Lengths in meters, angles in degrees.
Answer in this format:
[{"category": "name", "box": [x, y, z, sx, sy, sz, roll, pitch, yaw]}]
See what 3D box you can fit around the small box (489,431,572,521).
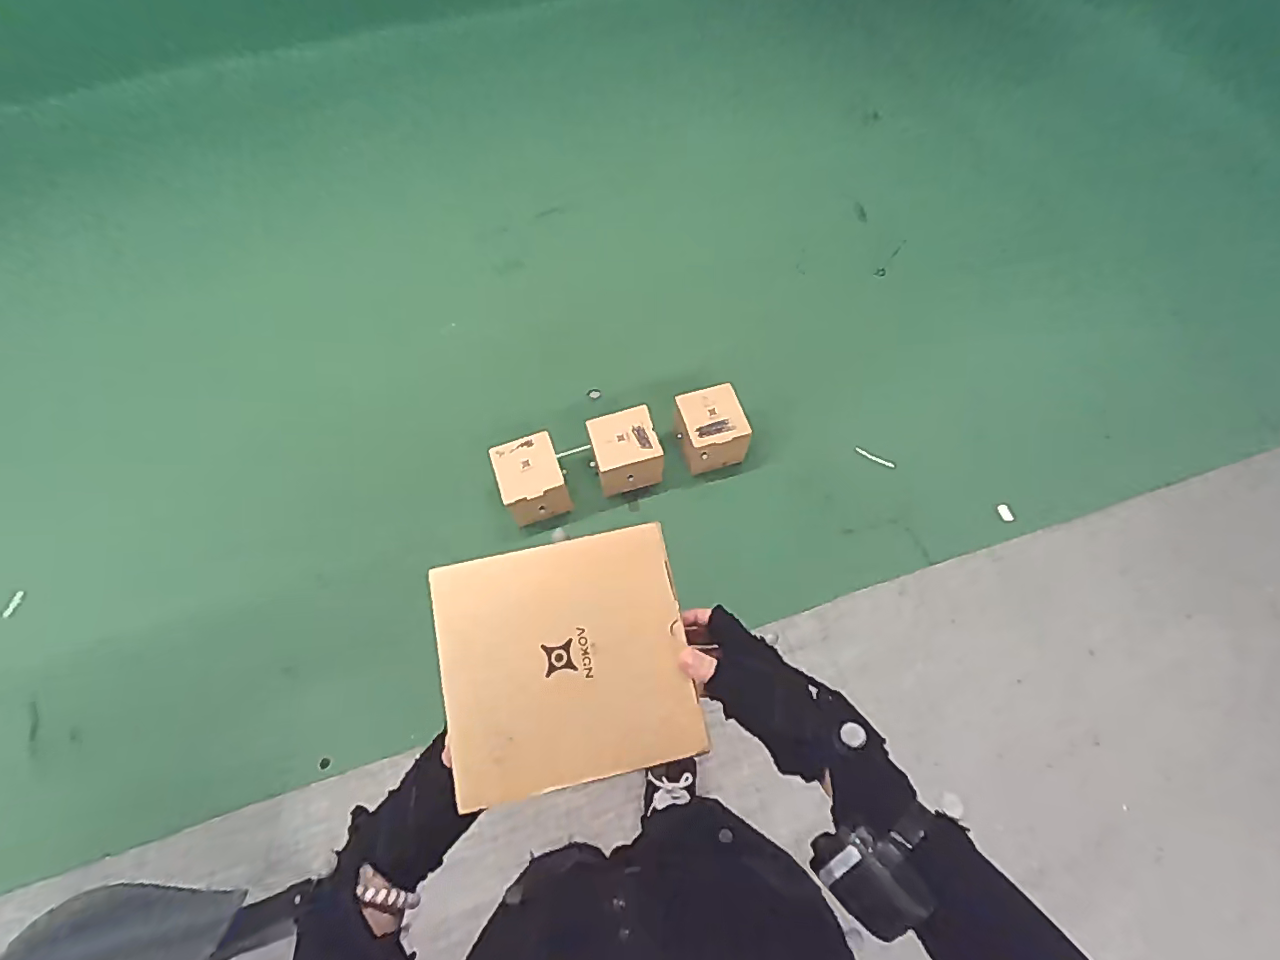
[{"category": "small box", "box": [-0.294, -0.002, 1.477, 0.168, 0.176, 0.179, -18, 67, -7]}]
